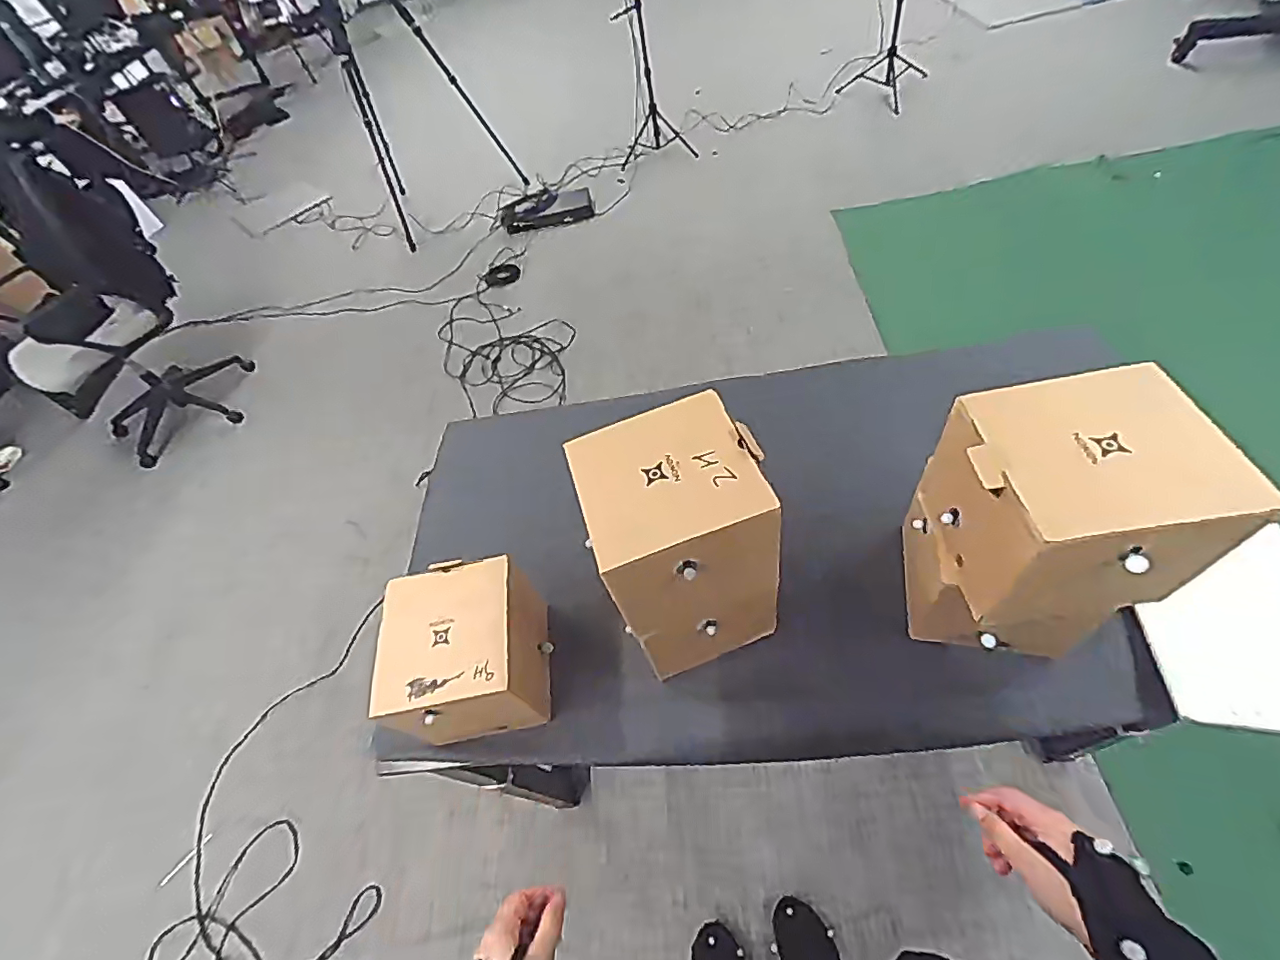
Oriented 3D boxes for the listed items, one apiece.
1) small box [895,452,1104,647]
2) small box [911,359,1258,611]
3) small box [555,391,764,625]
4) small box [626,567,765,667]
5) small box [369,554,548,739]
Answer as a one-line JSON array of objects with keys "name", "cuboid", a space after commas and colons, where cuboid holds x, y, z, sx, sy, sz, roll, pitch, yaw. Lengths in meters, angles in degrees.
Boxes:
[{"name": "small box", "cuboid": [0.423, 0.086, 0.674, 0.168, 0.176, 0.179, 3, 56, 16]}, {"name": "small box", "cuboid": [0.396, 0.013, 0.529, 0.179, 0.176, 0.168, -11, 53, 7]}, {"name": "small box", "cuboid": [0.027, 0.038, 0.600, 0.179, 0.176, 0.168, -20, 54, -2]}, {"name": "small box", "cuboid": [0.058, 0.129, 0.733, 0.179, 0.176, 0.168, -22, 54, -4]}, {"name": "small box", "cuboid": [-0.229, 0.227, 0.728, 0.168, 0.176, 0.179, -13, 54, 4]}]
